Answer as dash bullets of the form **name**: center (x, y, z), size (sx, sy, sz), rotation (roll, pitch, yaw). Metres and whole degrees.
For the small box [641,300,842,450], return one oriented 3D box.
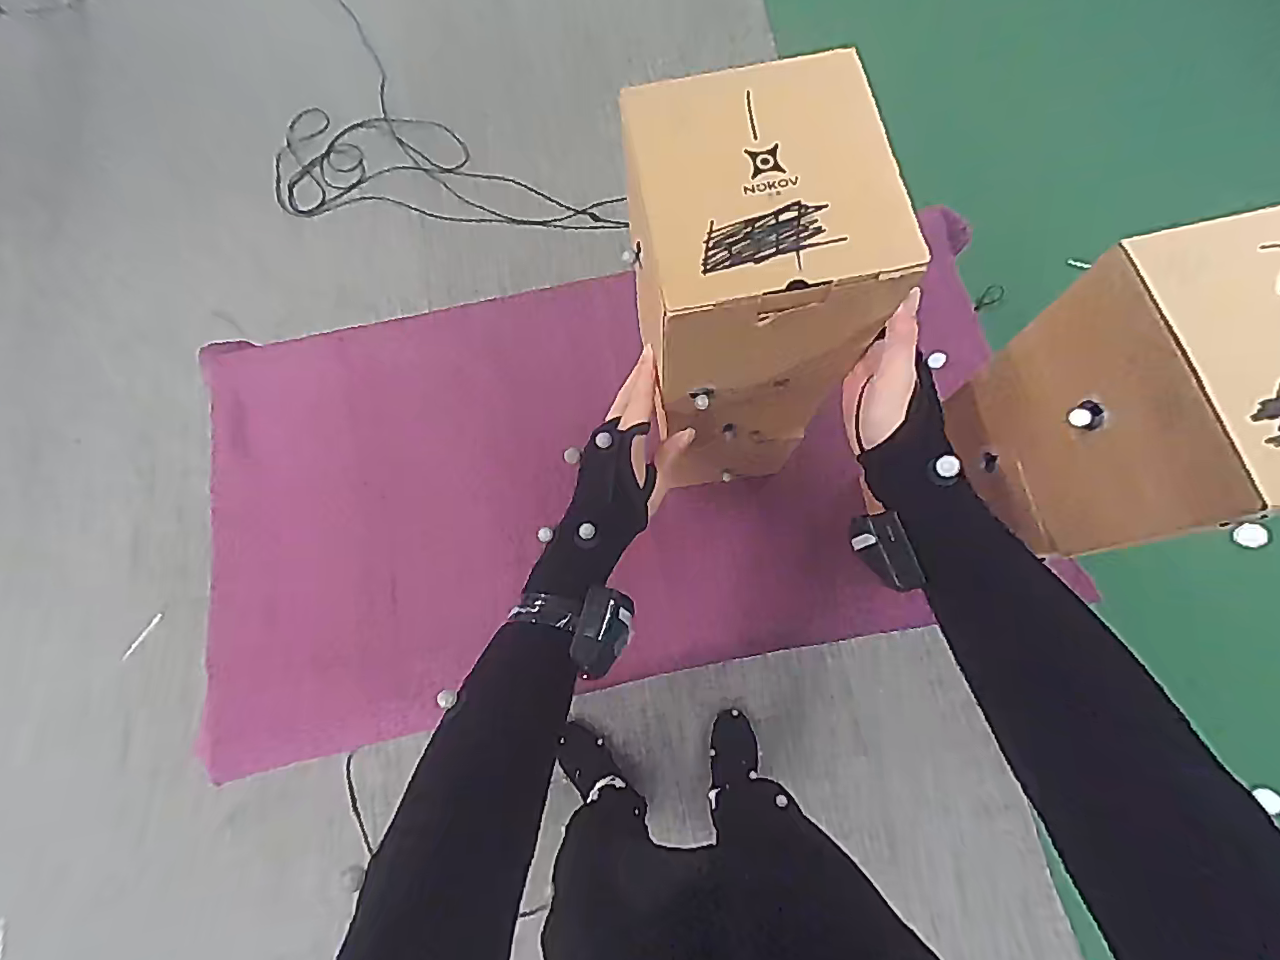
- **small box**: center (0.093, -0.149, 0.590), size (0.168, 0.176, 0.179), rotation (-10, 77, 0)

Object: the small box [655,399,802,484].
- **small box**: center (0.107, -0.105, 0.746), size (0.168, 0.176, 0.179), rotation (-7, 75, 1)

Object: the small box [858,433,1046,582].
- **small box**: center (0.410, 0.034, 0.696), size (0.179, 0.176, 0.168), rotation (-8, 74, 1)

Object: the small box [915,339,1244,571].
- **small box**: center (0.403, -0.014, 0.539), size (0.168, 0.176, 0.179), rotation (-8, 74, 2)

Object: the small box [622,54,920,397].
- **small box**: center (0.084, -0.178, 0.428), size (0.168, 0.176, 0.179), rotation (-10, 76, 0)
